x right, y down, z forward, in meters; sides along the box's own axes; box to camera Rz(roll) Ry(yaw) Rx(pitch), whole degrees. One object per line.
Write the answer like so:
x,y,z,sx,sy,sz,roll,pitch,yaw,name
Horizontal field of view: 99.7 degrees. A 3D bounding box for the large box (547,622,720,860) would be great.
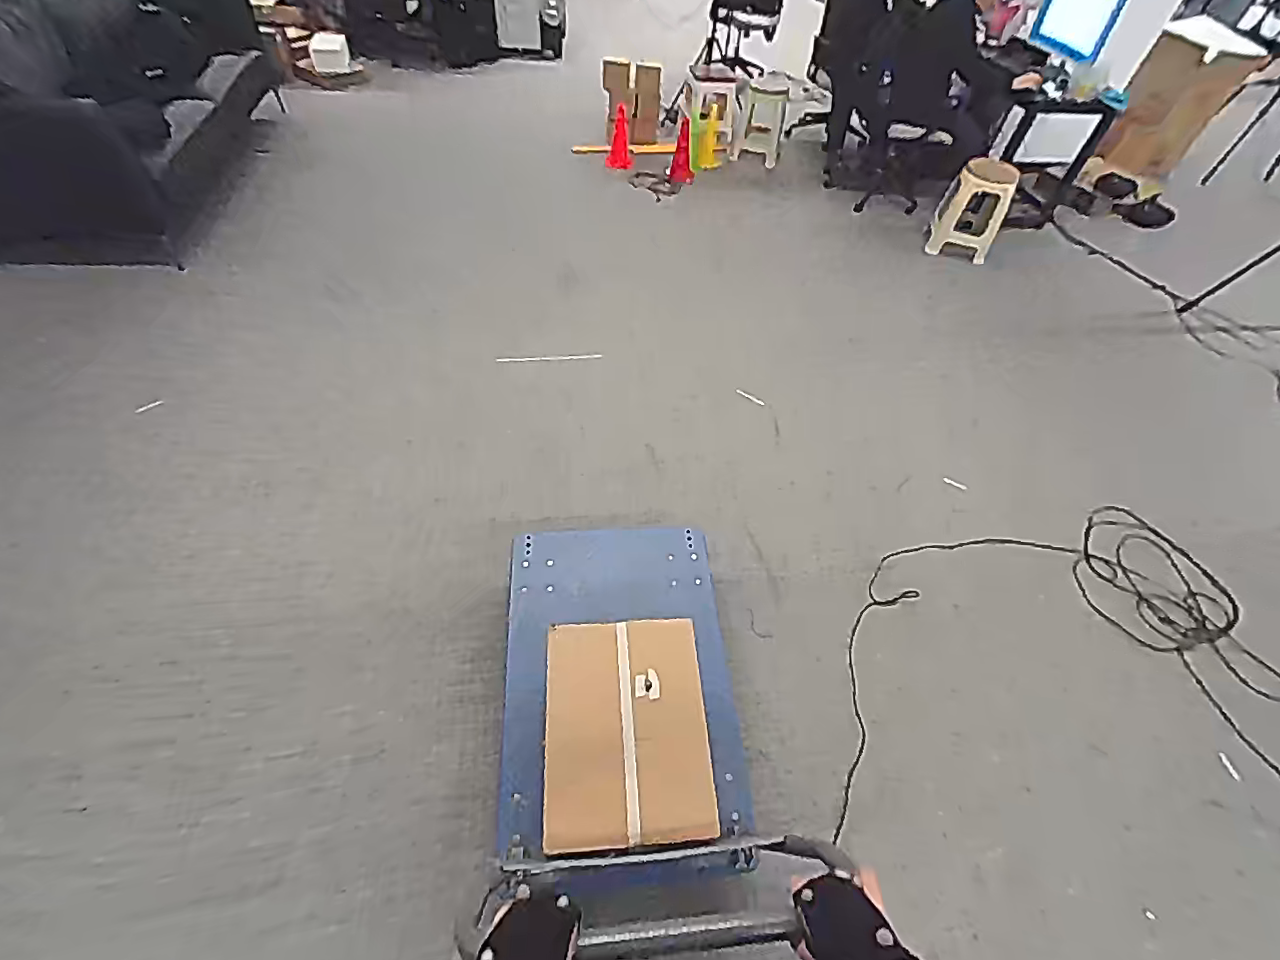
-0.032,0.568,1.183,0.320,0.320,0.408,-1,53,-6,large box
